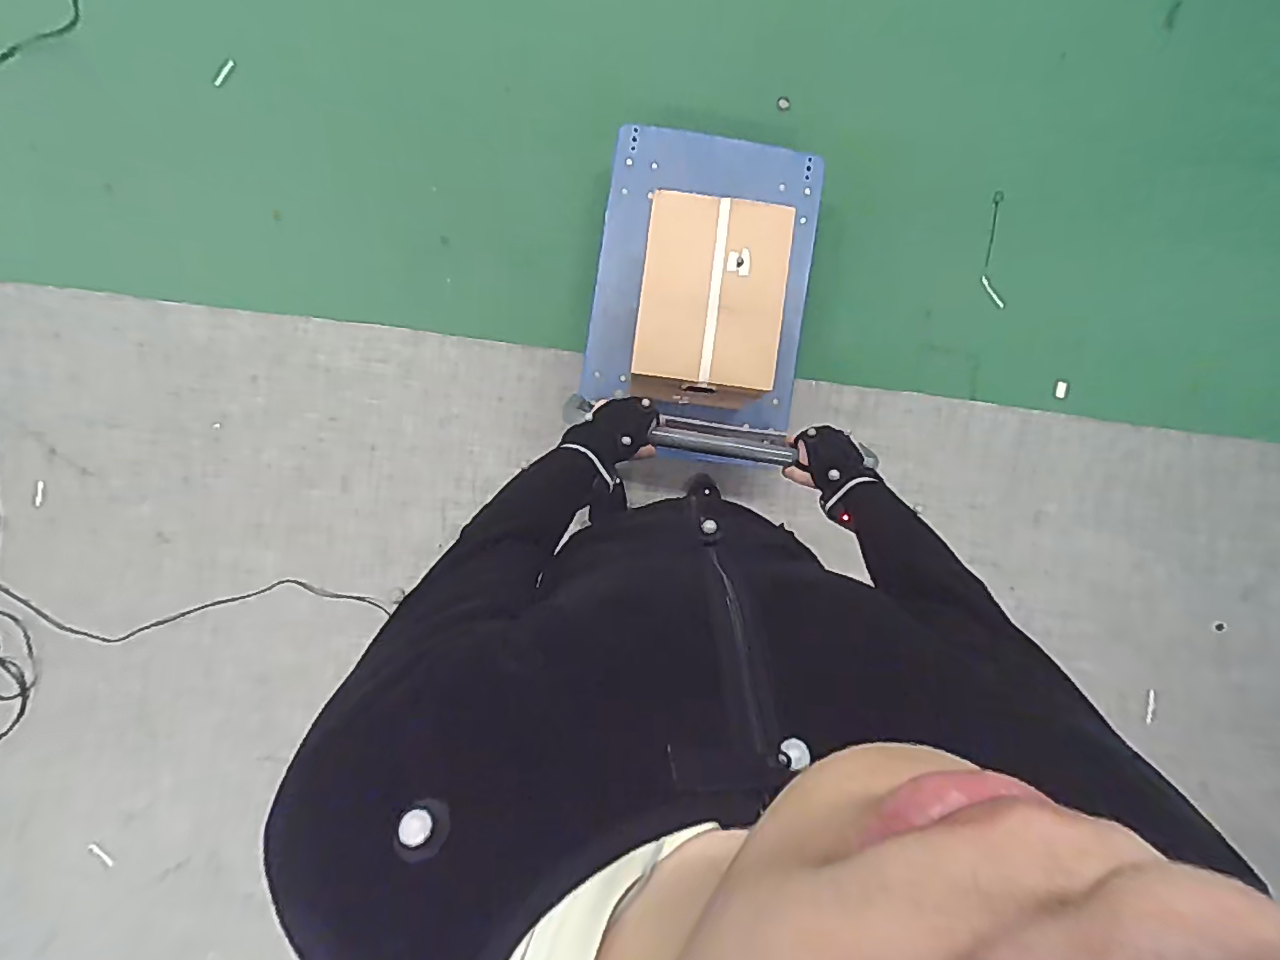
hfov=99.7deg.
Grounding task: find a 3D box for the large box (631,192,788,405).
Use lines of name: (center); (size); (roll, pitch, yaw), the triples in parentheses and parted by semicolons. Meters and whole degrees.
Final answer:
large box: (0.150, -0.414, 1.324); (0.320, 0.320, 0.408); (7, 90, -2)
